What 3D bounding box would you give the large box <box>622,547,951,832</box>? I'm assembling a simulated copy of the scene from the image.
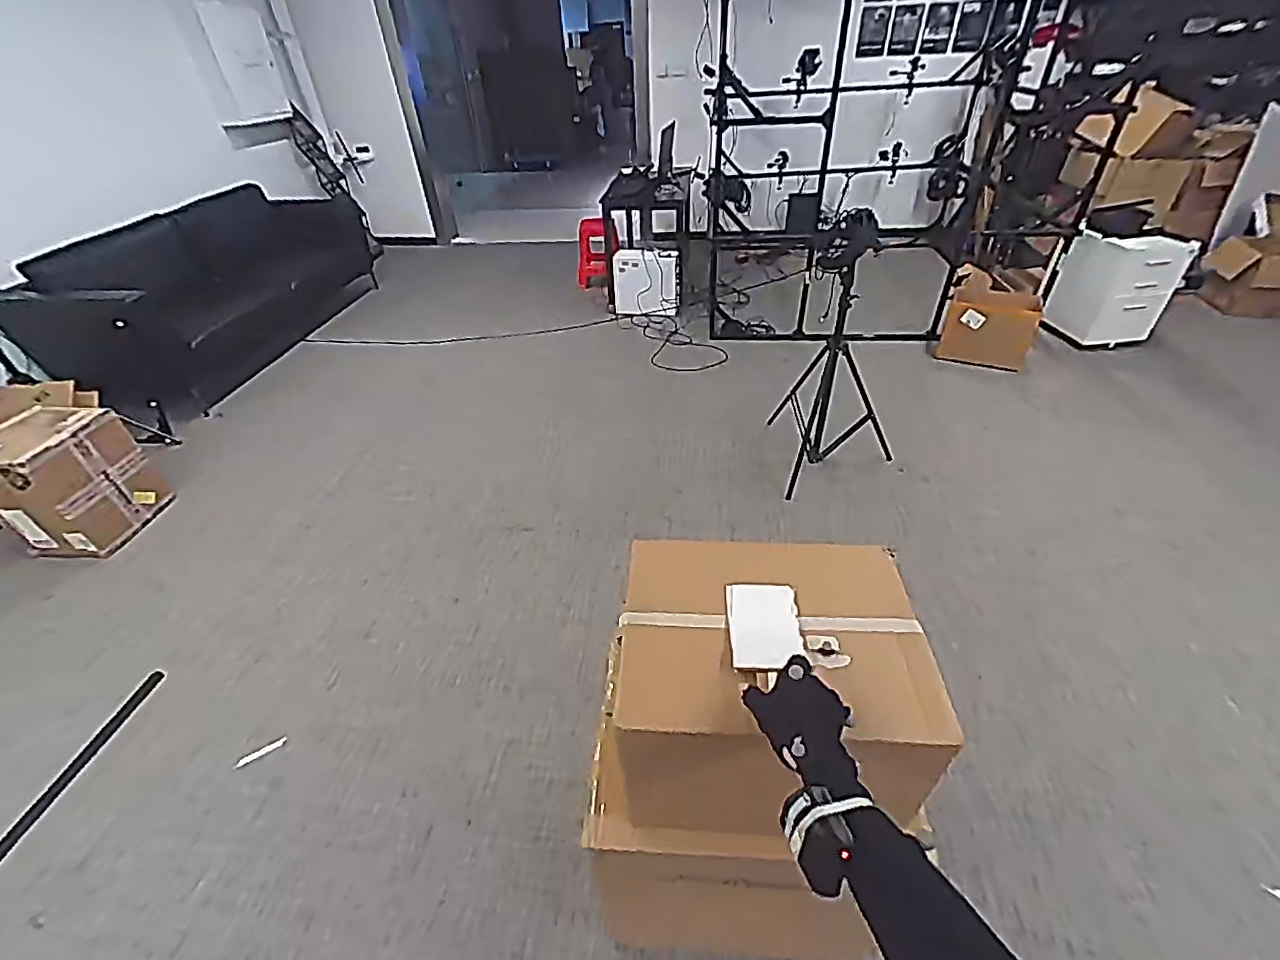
[{"bbox_3d":[0.185,0.325,0.857,0.408,0.320,0.320,1,39,4],"label":"large box"}]
